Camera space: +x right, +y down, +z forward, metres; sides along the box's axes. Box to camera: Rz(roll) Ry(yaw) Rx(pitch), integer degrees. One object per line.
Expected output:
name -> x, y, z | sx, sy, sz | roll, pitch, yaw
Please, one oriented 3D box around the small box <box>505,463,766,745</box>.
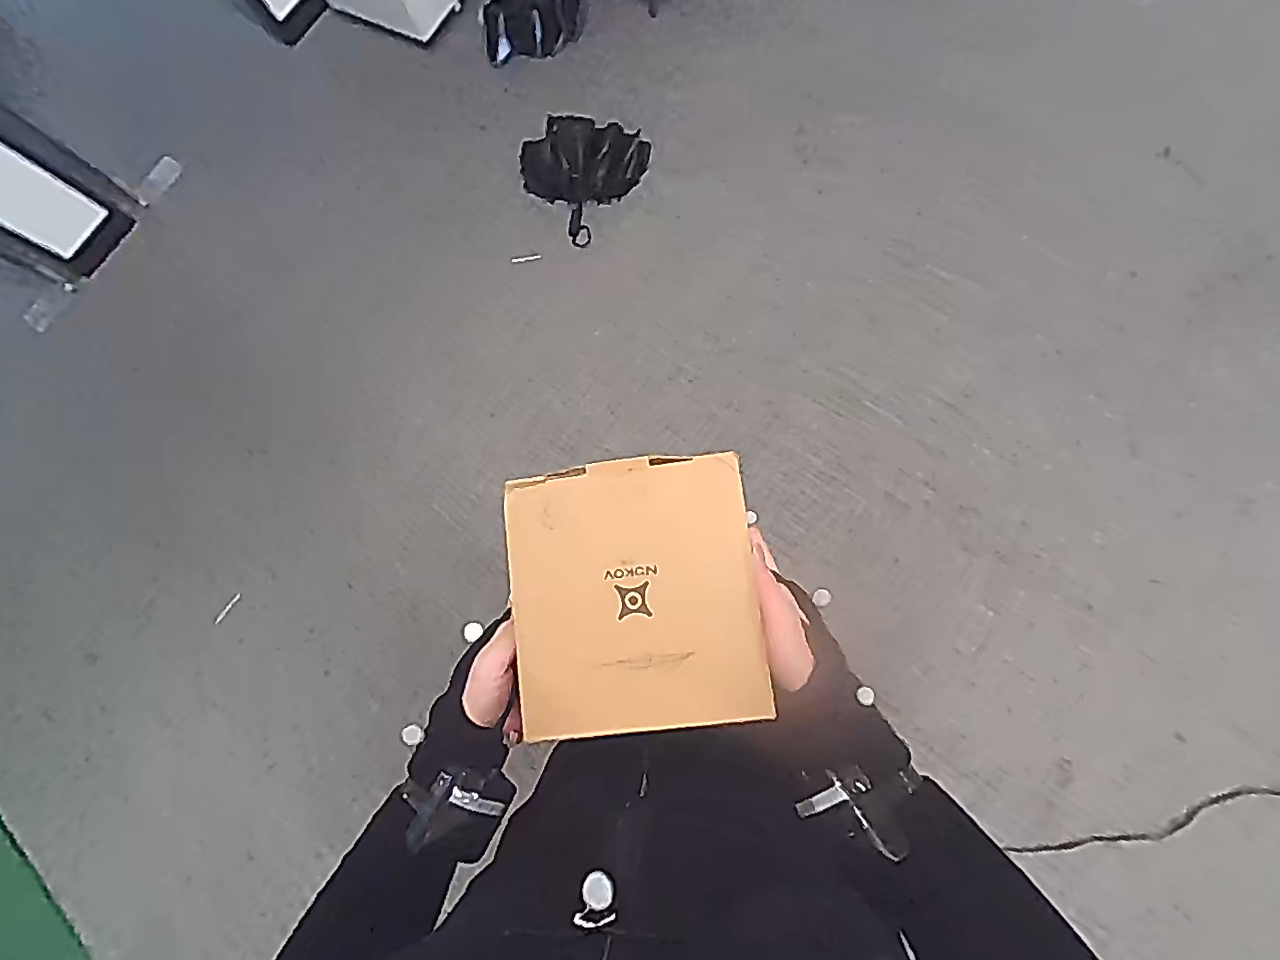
small box -> 0.000, 0.091, 0.440 | 0.168, 0.176, 0.179 | -6, 83, 5
